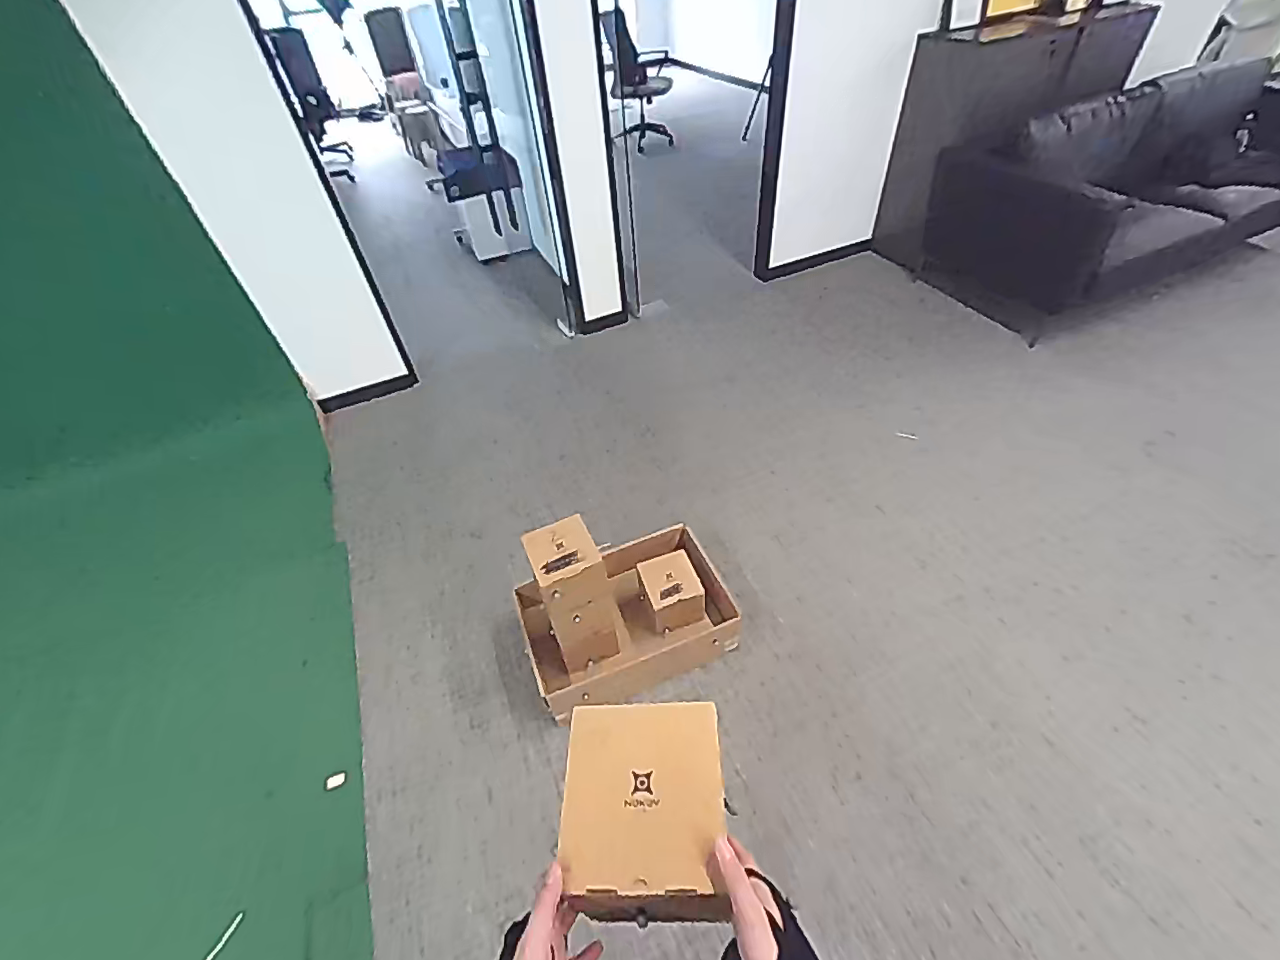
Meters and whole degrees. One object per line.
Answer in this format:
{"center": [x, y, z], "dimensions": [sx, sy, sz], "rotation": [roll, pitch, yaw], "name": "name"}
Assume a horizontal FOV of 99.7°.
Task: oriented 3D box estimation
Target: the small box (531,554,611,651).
{"center": [-0.192, 0.347, 1.526], "dimensions": [0.168, 0.176, 0.179], "rotation": [-21, 48, -14], "name": "small box"}

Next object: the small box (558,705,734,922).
{"center": [0.014, 0.375, 0.610], "dimensions": [0.168, 0.176, 0.179], "rotation": [-4, 46, 5], "name": "small box"}
